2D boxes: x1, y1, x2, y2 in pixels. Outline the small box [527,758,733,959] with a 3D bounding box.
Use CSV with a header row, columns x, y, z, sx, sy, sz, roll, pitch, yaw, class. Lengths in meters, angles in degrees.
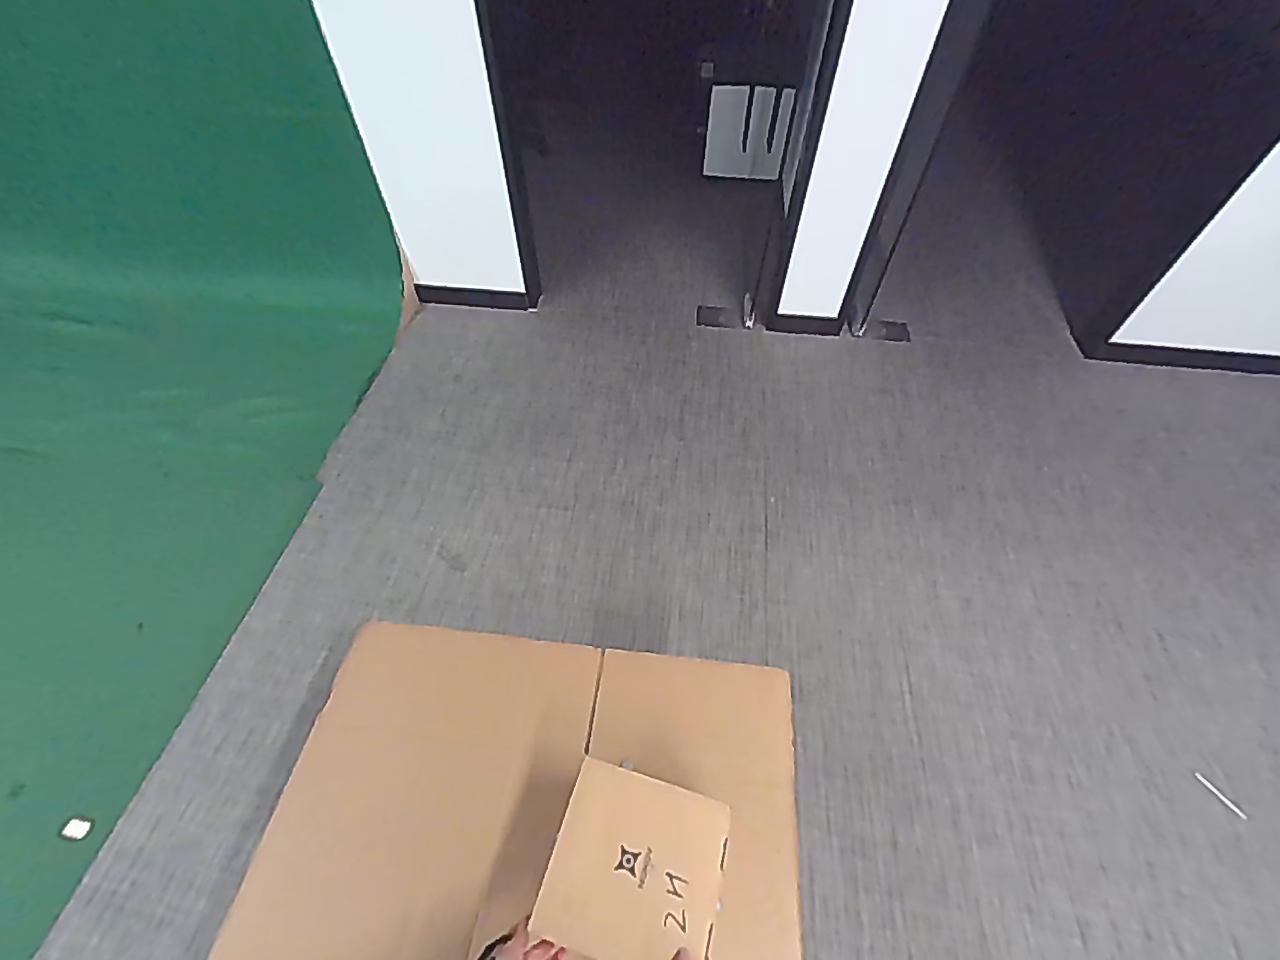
x,y,z,sx,sy,sz,roll,pitch,yaw,class
-0.004,0.449,0.618,0.179,0.176,0.168,13,53,12,small box
